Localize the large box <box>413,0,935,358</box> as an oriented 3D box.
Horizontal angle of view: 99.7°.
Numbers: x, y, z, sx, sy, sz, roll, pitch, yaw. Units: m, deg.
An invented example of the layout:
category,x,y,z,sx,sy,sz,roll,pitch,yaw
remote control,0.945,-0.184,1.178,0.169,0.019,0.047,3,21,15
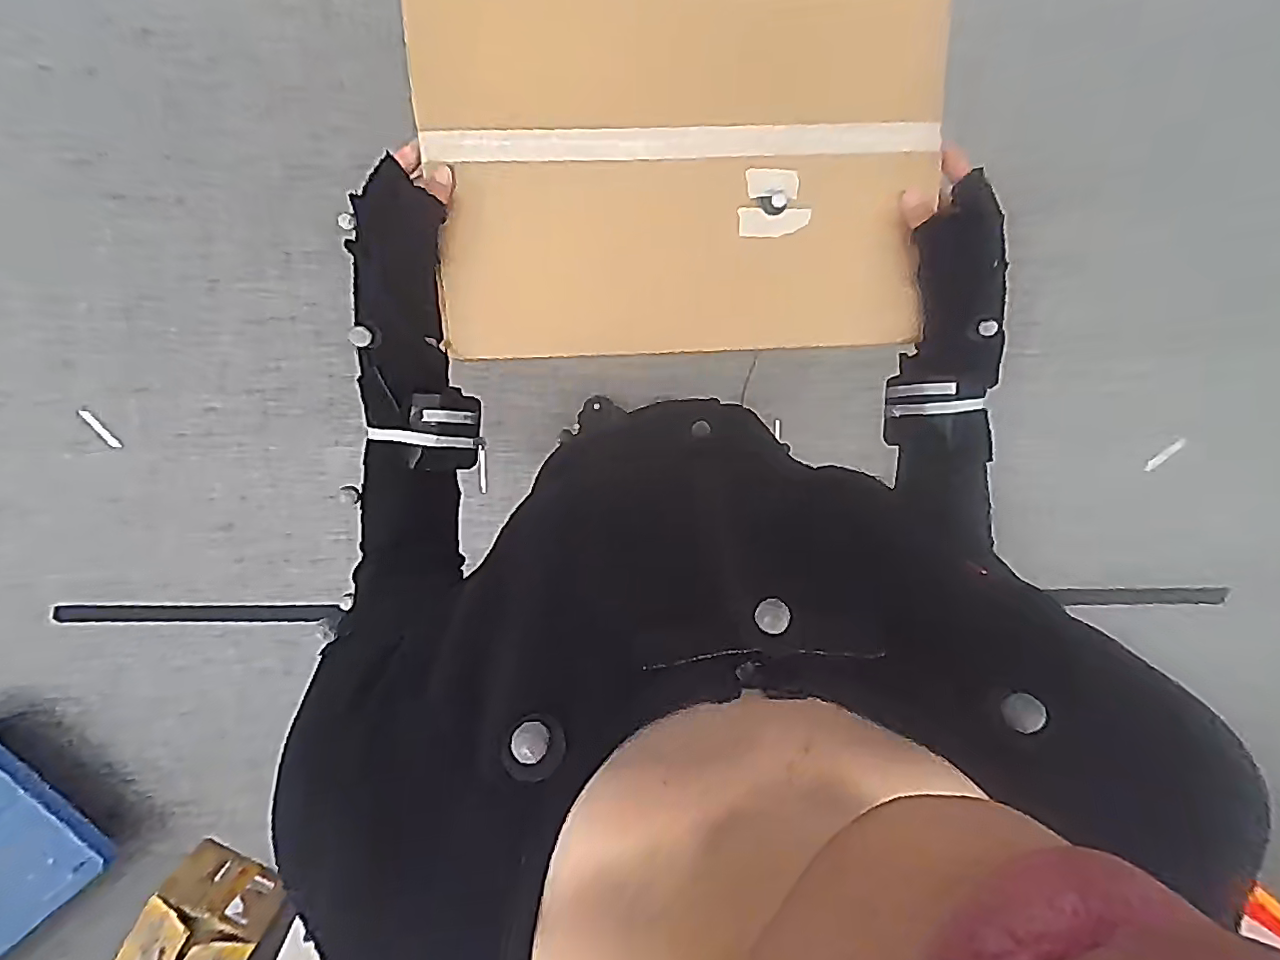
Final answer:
category,x,y,z,sx,sy,sz,roll,pitch,yaw
large box,0.023,-0.301,0.575,0.408,0.320,0.320,-4,104,-4
